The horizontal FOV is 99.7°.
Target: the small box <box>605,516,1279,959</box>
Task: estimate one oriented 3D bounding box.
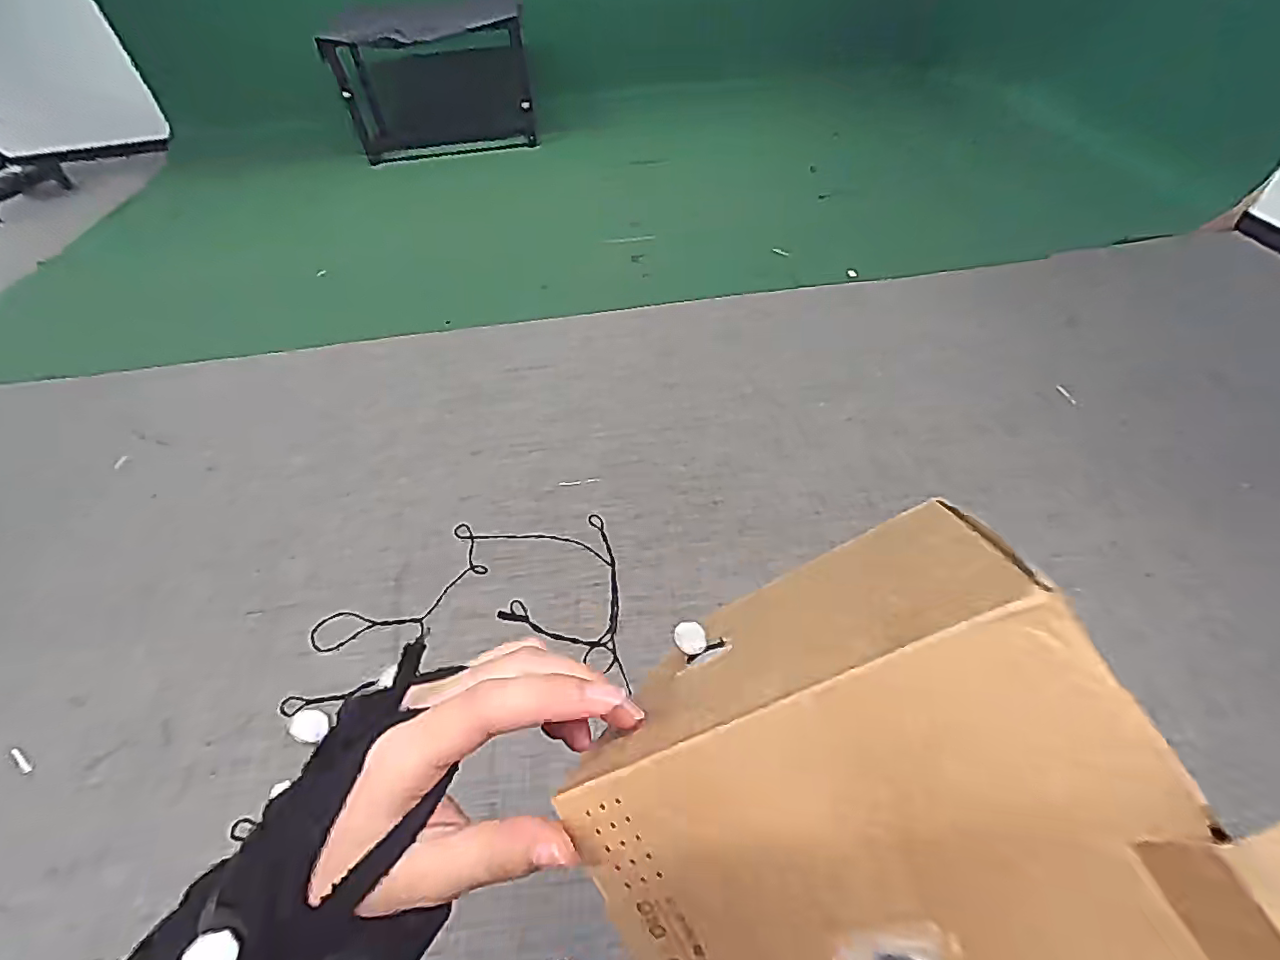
[{"bbox_3d":[0.108,0.137,0.235,0.176,0.179,0.168,-33,84,20],"label":"small box"}]
